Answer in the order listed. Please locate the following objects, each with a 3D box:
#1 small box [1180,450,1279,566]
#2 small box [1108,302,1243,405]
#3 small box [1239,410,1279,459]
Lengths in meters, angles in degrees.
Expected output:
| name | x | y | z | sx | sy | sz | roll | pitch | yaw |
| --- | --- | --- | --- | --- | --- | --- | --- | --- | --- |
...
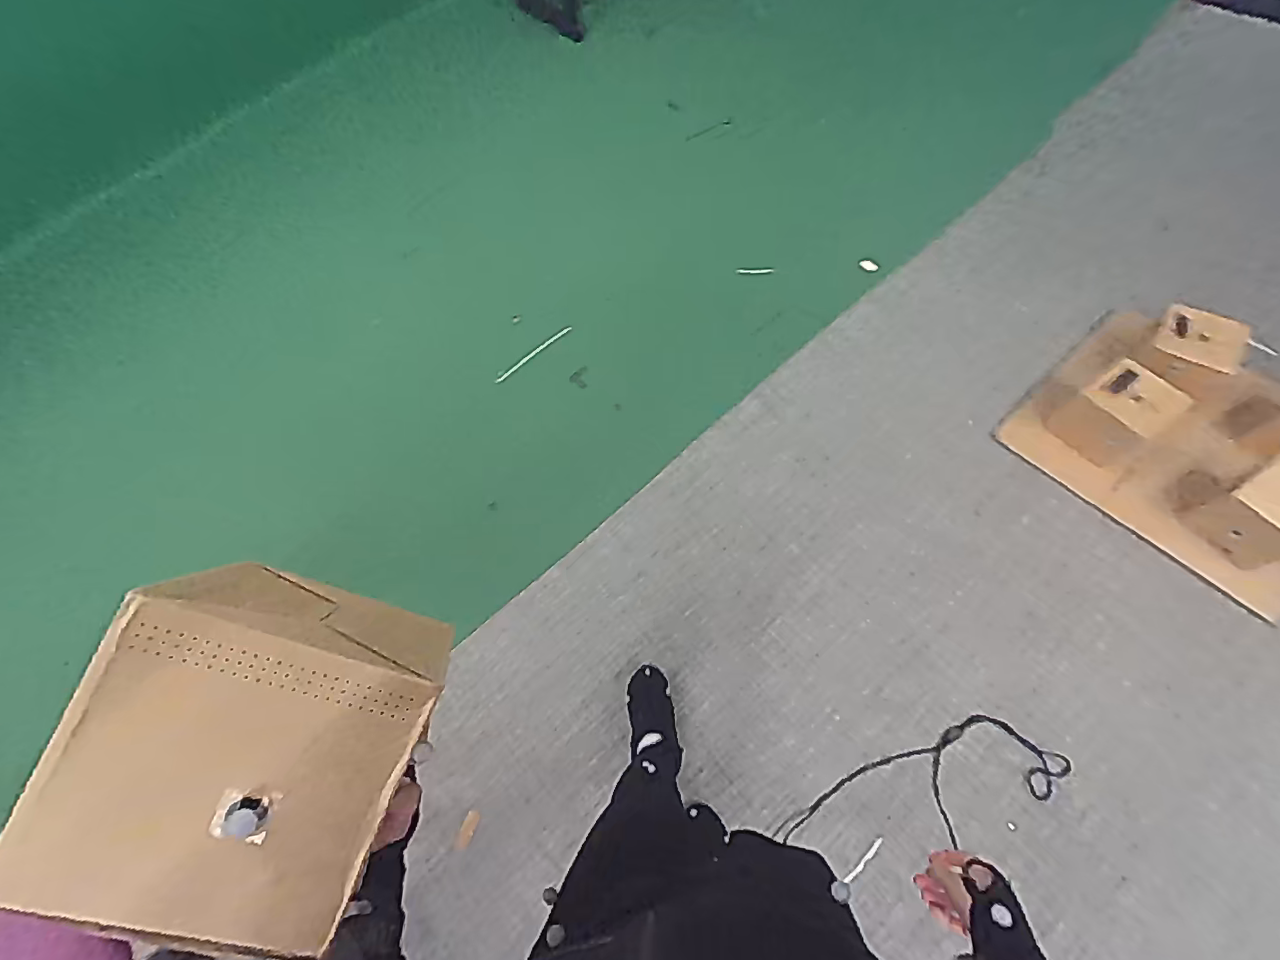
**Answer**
| name | x | y | z | sx | sy | sz | roll | pitch | yaw |
| --- | --- | --- | --- | --- | --- | --- | --- | --- | --- |
| small box | 1.403 | 0.070 | 1.226 | 0.179 | 0.176 | 0.168 | -34 | 65 | -7 |
| small box | 1.389 | -0.324 | 1.416 | 0.179 | 0.176 | 0.168 | 30 | 73 | 19 |
| small box | 1.606 | -0.110 | 1.280 | 0.179 | 0.176 | 0.168 | -27 | 64 | -5 |
